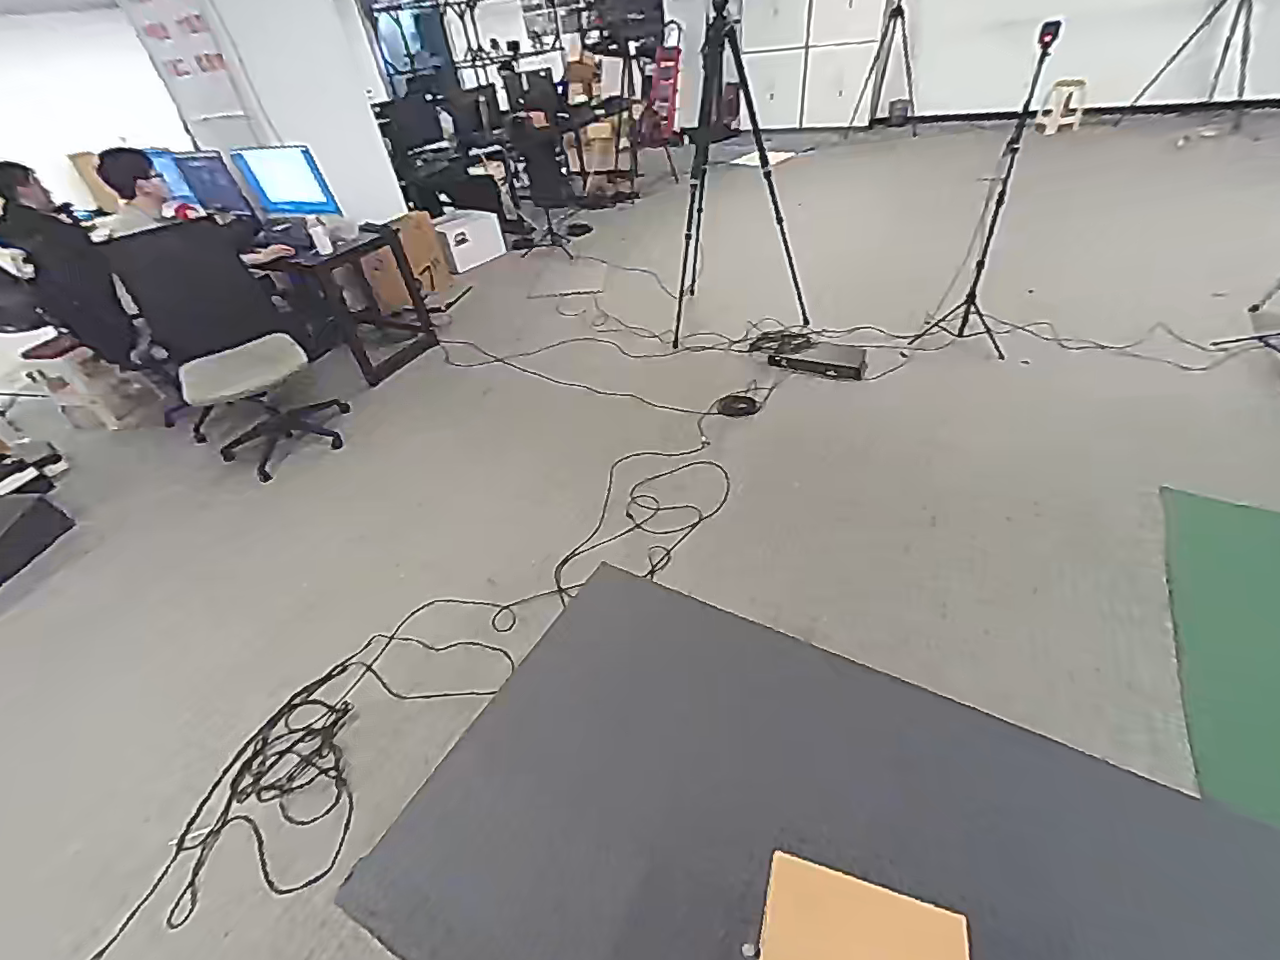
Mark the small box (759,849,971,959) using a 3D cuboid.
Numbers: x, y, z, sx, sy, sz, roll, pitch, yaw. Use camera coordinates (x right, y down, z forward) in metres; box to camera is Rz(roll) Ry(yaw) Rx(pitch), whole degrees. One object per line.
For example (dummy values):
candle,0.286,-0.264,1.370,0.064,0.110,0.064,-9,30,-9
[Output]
small box,0.189,0.481,0.485,0.168,0.176,0.179,7,41,18
